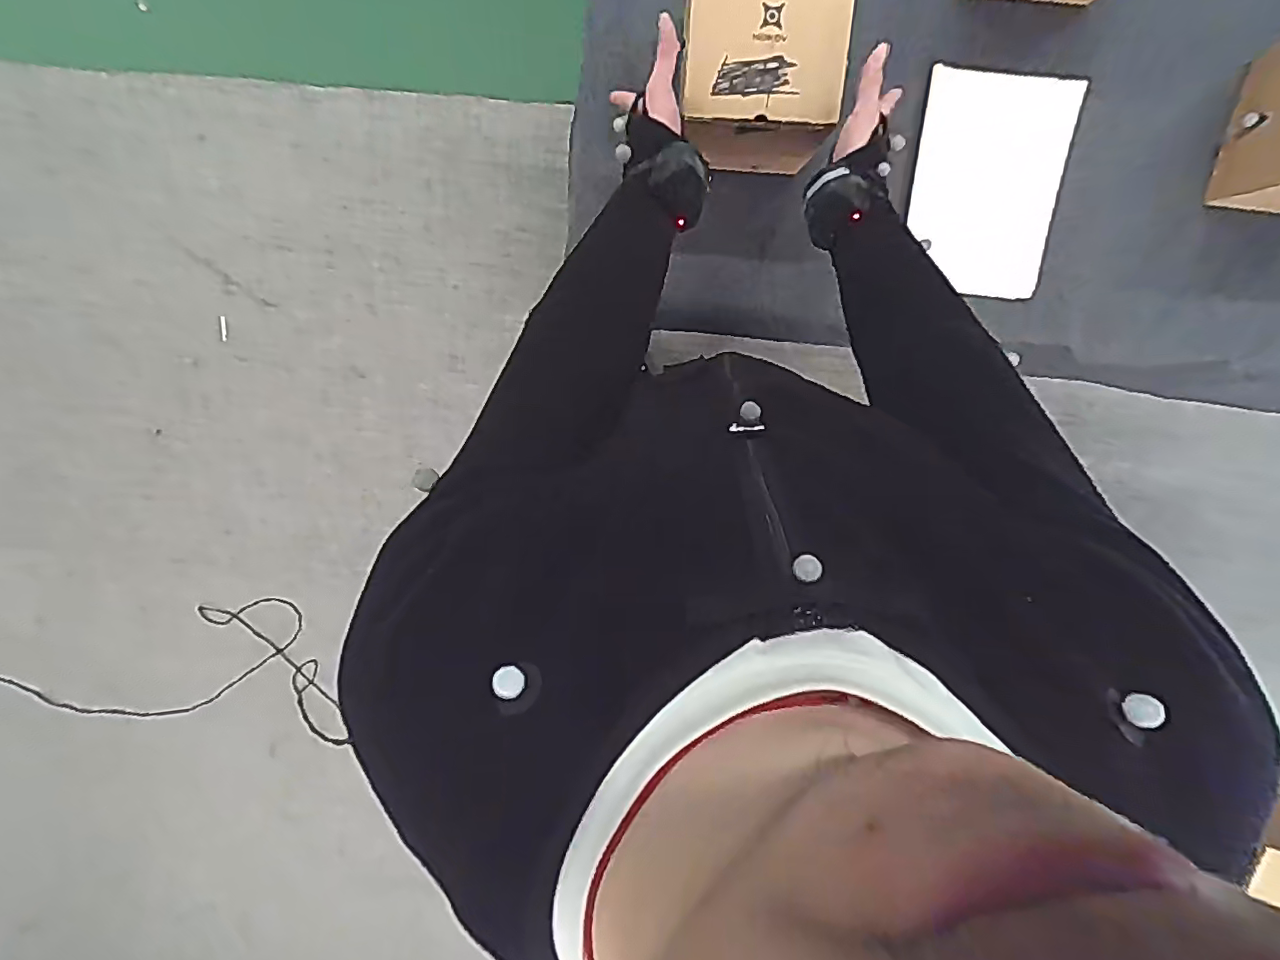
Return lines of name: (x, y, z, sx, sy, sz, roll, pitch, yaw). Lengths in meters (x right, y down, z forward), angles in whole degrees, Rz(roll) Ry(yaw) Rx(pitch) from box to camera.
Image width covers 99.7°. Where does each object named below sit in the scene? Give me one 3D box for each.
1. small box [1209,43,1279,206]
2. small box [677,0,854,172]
small box: (0.839, -0.425, 0.627, 0.168, 0.176, 0.179, 5, 106, 0)
small box: (0.133, -0.477, 0.629, 0.168, 0.176, 0.179, 3, 105, 0)
